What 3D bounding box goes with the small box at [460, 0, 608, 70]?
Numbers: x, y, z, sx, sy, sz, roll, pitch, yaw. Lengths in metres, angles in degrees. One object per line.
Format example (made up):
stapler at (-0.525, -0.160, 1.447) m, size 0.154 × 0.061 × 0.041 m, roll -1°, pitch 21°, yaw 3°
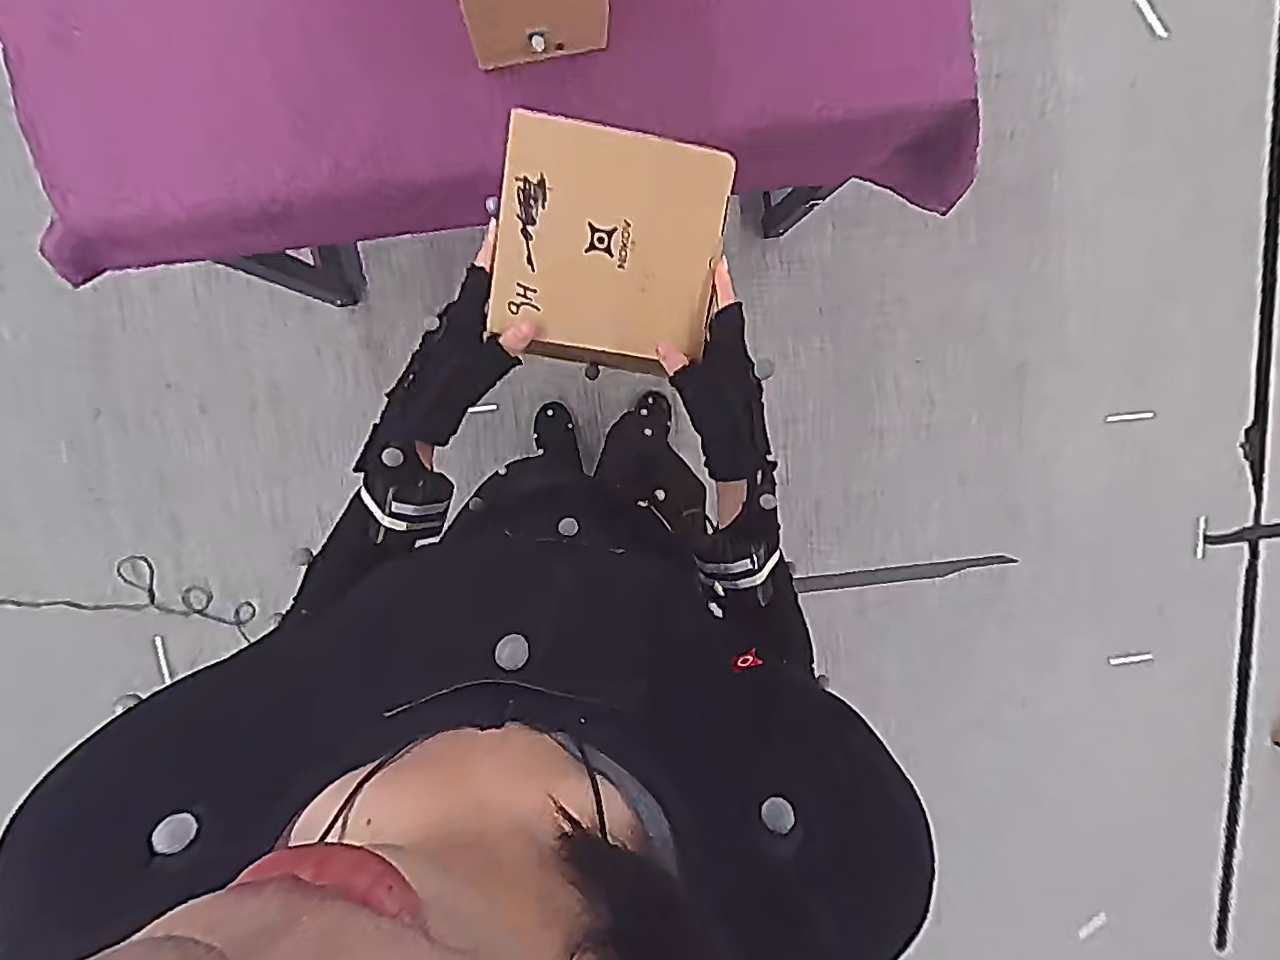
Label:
small box at (-0.132, -0.607, 0.600) m, size 0.168 × 0.176 × 0.179 m, roll -13°, pitch 100°, yaw -4°
